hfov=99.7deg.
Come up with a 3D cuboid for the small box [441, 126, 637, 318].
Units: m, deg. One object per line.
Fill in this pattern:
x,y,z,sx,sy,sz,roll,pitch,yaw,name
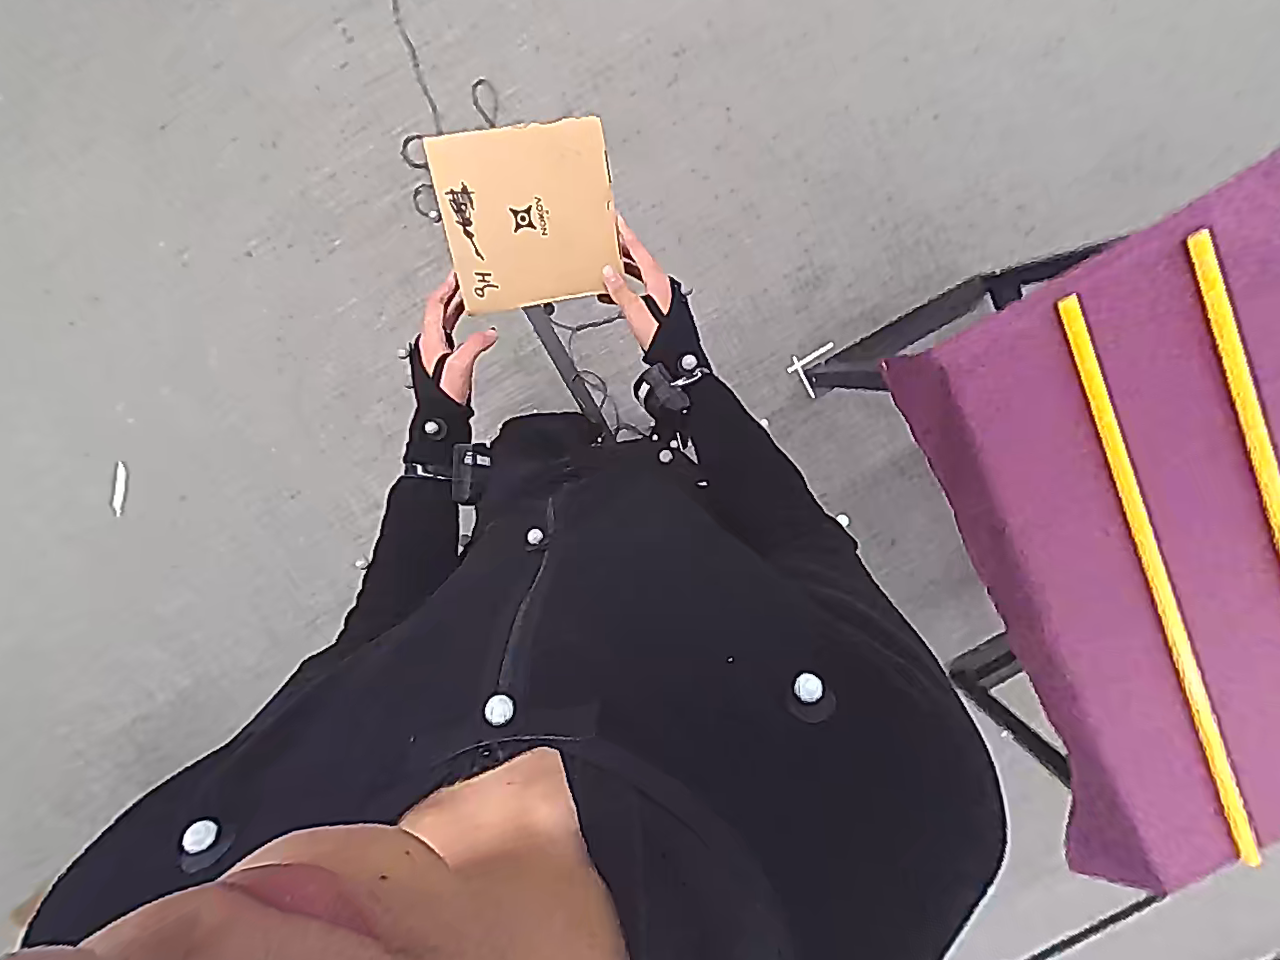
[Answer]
-0.111,-0.286,0.622,0.179,0.176,0.168,-11,111,-7,small box
